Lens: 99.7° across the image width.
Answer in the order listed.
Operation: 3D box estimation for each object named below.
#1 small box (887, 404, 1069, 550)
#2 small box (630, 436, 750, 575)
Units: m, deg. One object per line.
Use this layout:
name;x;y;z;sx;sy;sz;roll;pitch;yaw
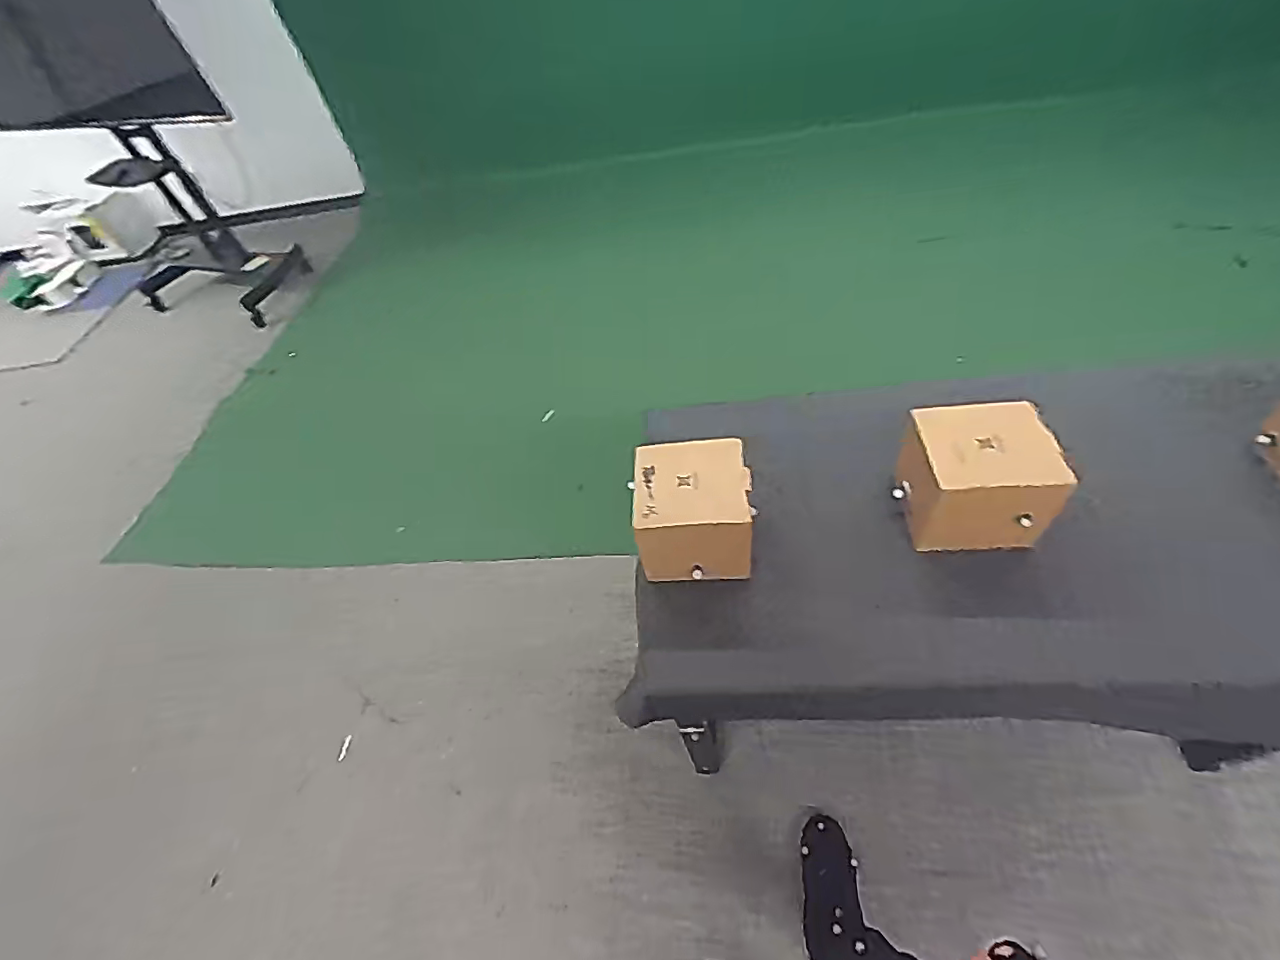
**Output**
small box;0.518;0.000;0.861;0.179;0.176;0.168;-3;50;8
small box;0.082;0.045;0.891;0.179;0.176;0.168;-2;51;6
